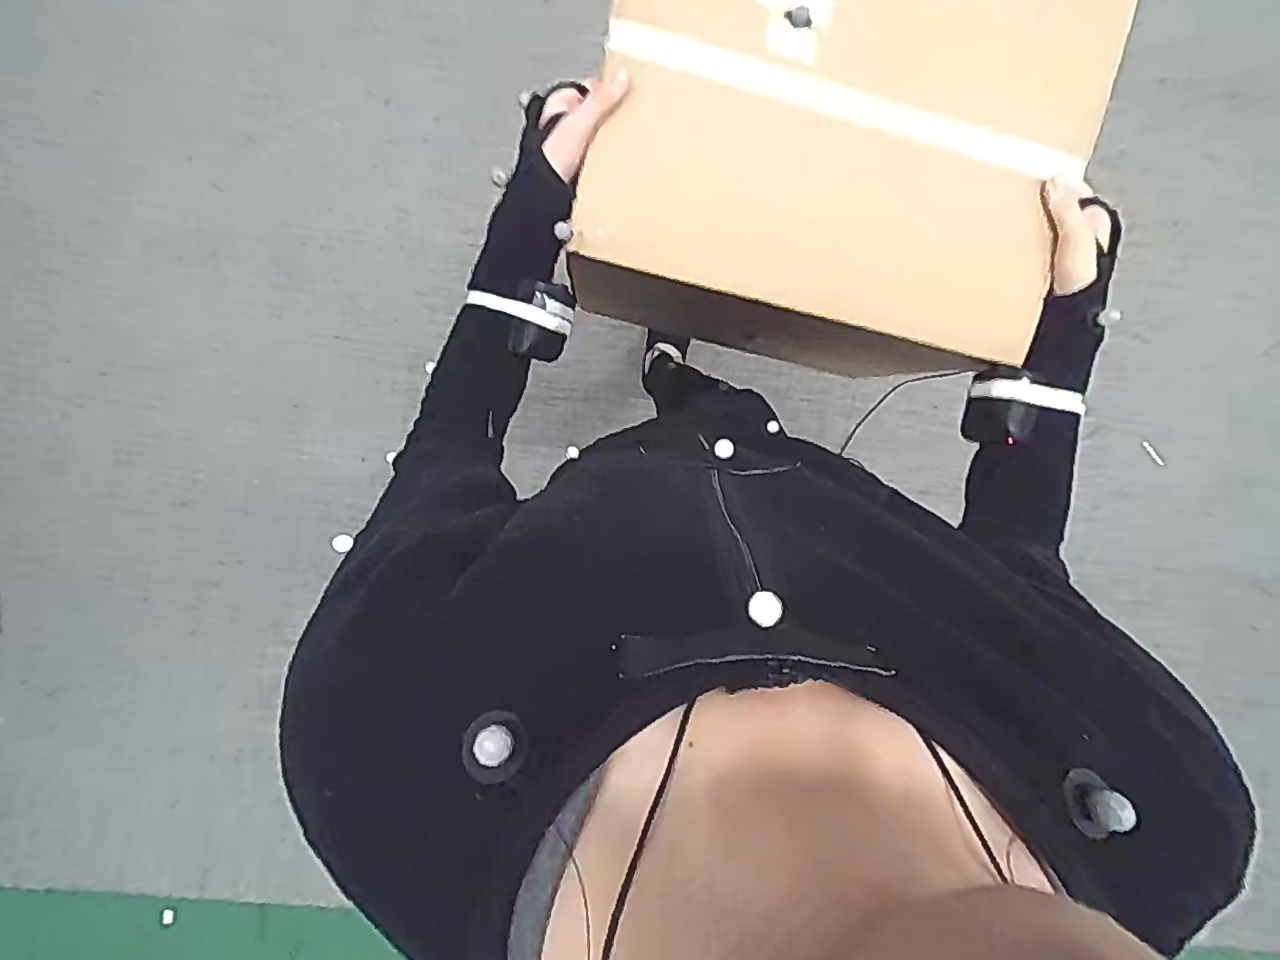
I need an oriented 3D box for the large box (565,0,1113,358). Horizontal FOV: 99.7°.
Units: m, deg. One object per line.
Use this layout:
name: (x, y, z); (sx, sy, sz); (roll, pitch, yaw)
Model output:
large box: (0.154, -0.329, 0.588); (0.408, 0.320, 0.320); (12, 98, -6)
